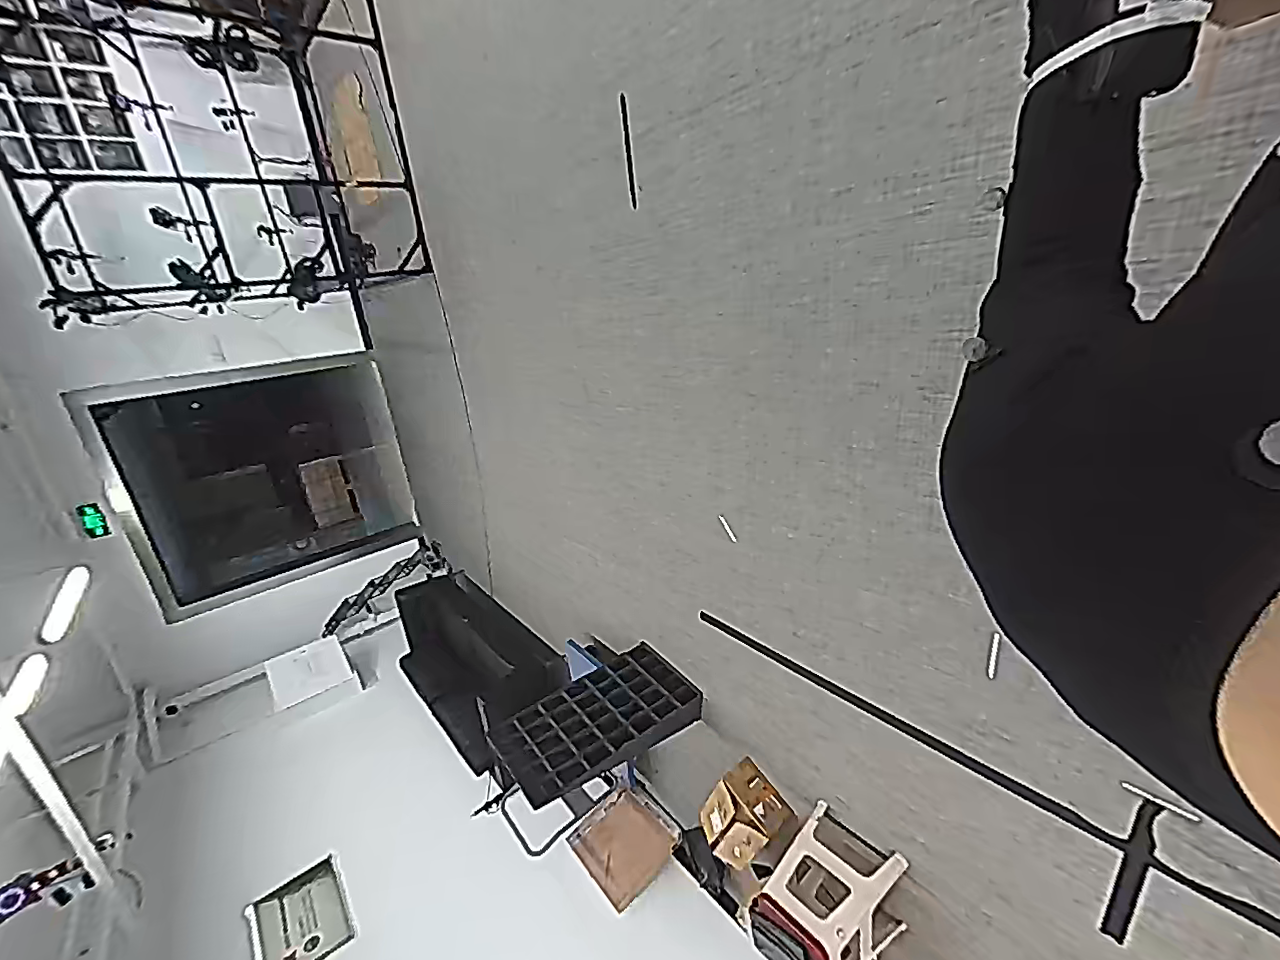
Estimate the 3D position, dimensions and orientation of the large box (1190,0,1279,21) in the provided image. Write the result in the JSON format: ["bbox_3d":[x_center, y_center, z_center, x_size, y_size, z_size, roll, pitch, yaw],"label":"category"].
[{"bbox_3d":[0.533,-0.508,0.242,0.408,0.320,0.320,7,119,52],"label":"large box"}]
